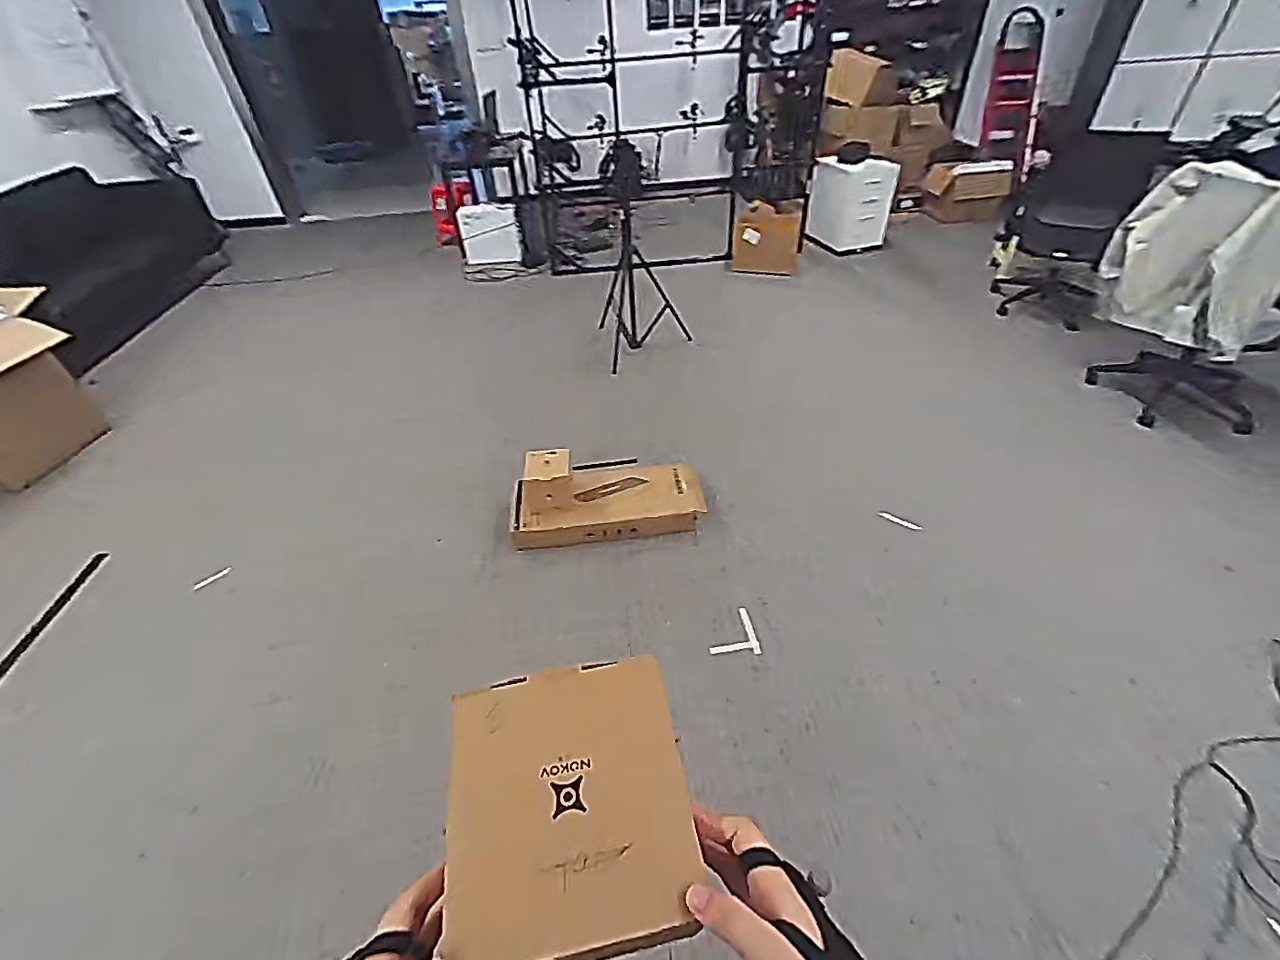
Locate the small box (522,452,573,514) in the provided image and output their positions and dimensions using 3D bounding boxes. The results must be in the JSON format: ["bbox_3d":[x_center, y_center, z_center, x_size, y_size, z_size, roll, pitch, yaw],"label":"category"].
[{"bbox_3d":[-0.348,0.017,2.065,0.168,0.176,0.179,-5,41,-3],"label":"small box"}]

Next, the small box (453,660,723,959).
[{"bbox_3d":[-0.044,0.275,0.435,0.168,0.176,0.179,-8,47,-8],"label":"small box"}]
